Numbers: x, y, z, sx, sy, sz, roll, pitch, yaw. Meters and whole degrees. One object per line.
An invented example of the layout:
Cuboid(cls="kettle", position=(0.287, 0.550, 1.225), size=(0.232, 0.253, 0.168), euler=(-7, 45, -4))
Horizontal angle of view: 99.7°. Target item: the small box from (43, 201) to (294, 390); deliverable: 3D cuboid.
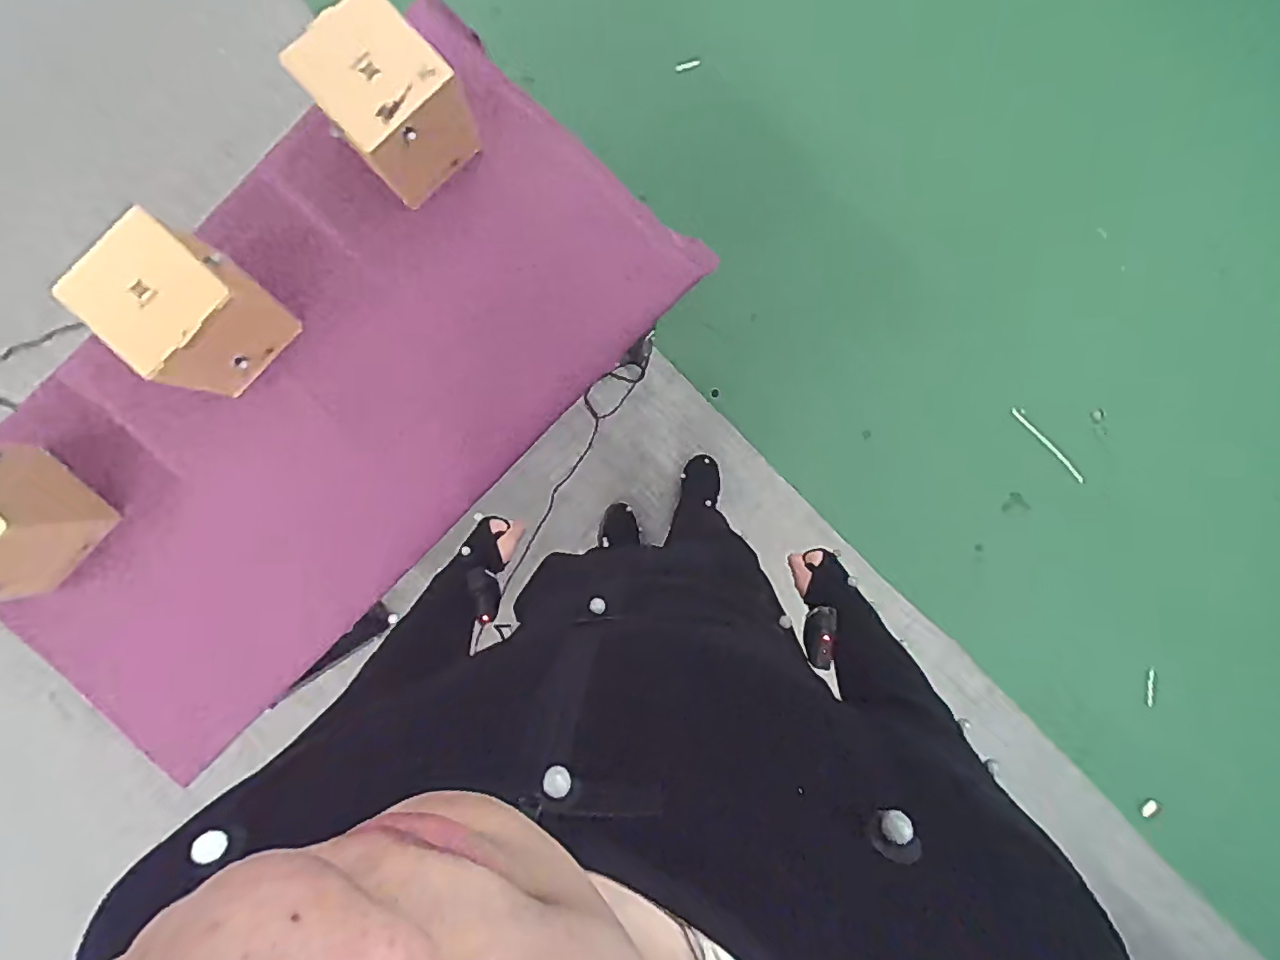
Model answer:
Cuboid(cls="small box", position=(-0.669, -0.253, 0.793), size=(0.179, 0.176, 0.168), euler=(43, 88, -3))

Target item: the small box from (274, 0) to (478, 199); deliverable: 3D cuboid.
Cuboid(cls="small box", position=(-0.374, -0.564, 0.800), size=(0.168, 0.176, 0.179), euler=(-44, 93, 0))
